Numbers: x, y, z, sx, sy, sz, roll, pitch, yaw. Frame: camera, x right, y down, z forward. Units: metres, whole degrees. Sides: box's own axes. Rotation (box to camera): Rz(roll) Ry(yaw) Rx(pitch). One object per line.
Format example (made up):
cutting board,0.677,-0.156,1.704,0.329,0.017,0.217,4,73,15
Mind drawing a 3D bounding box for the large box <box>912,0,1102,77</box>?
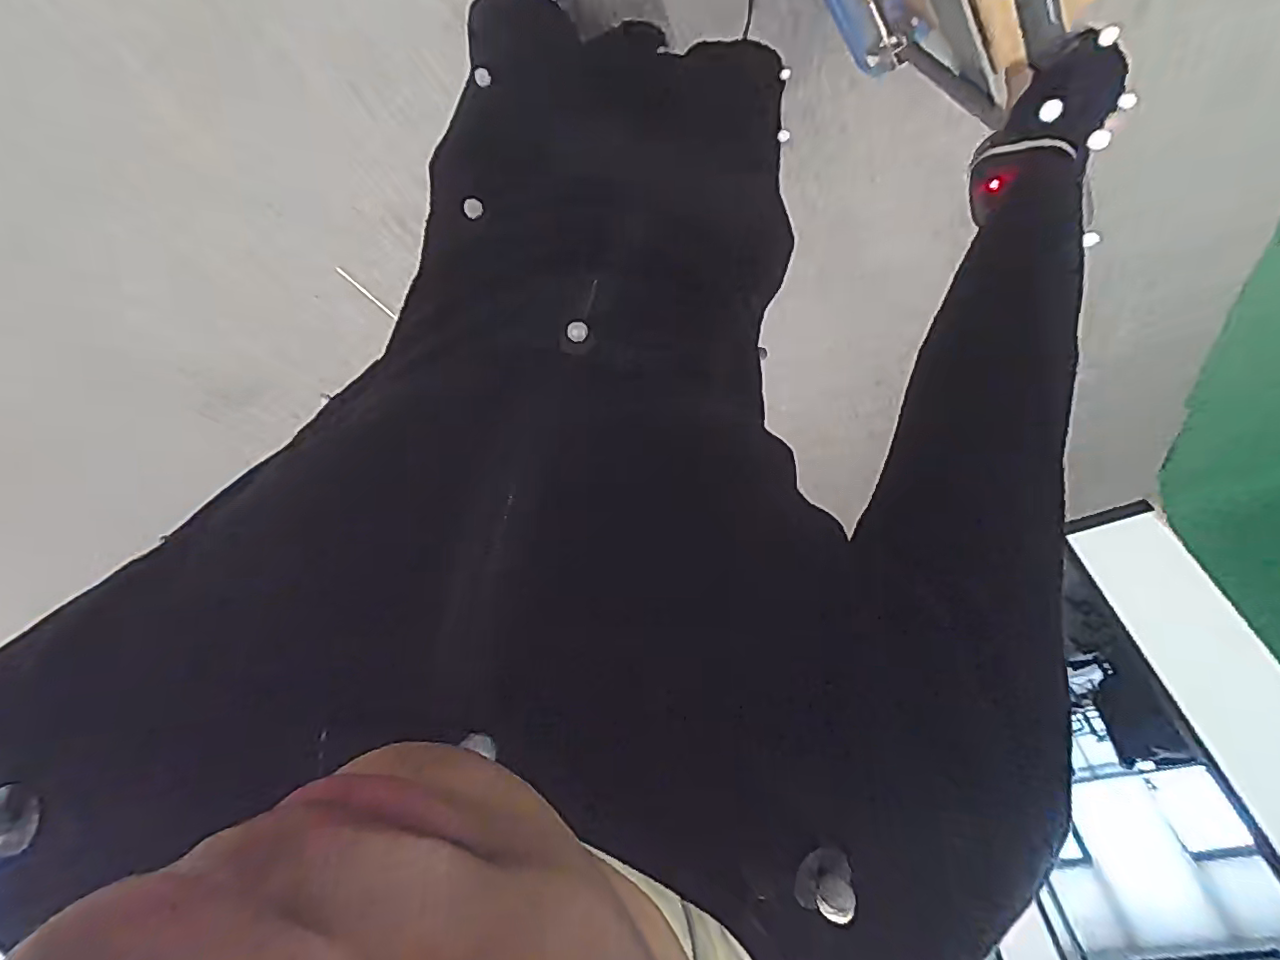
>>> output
large box,0.585,-0.892,0.738,0.408,0.320,0.320,-34,137,29
